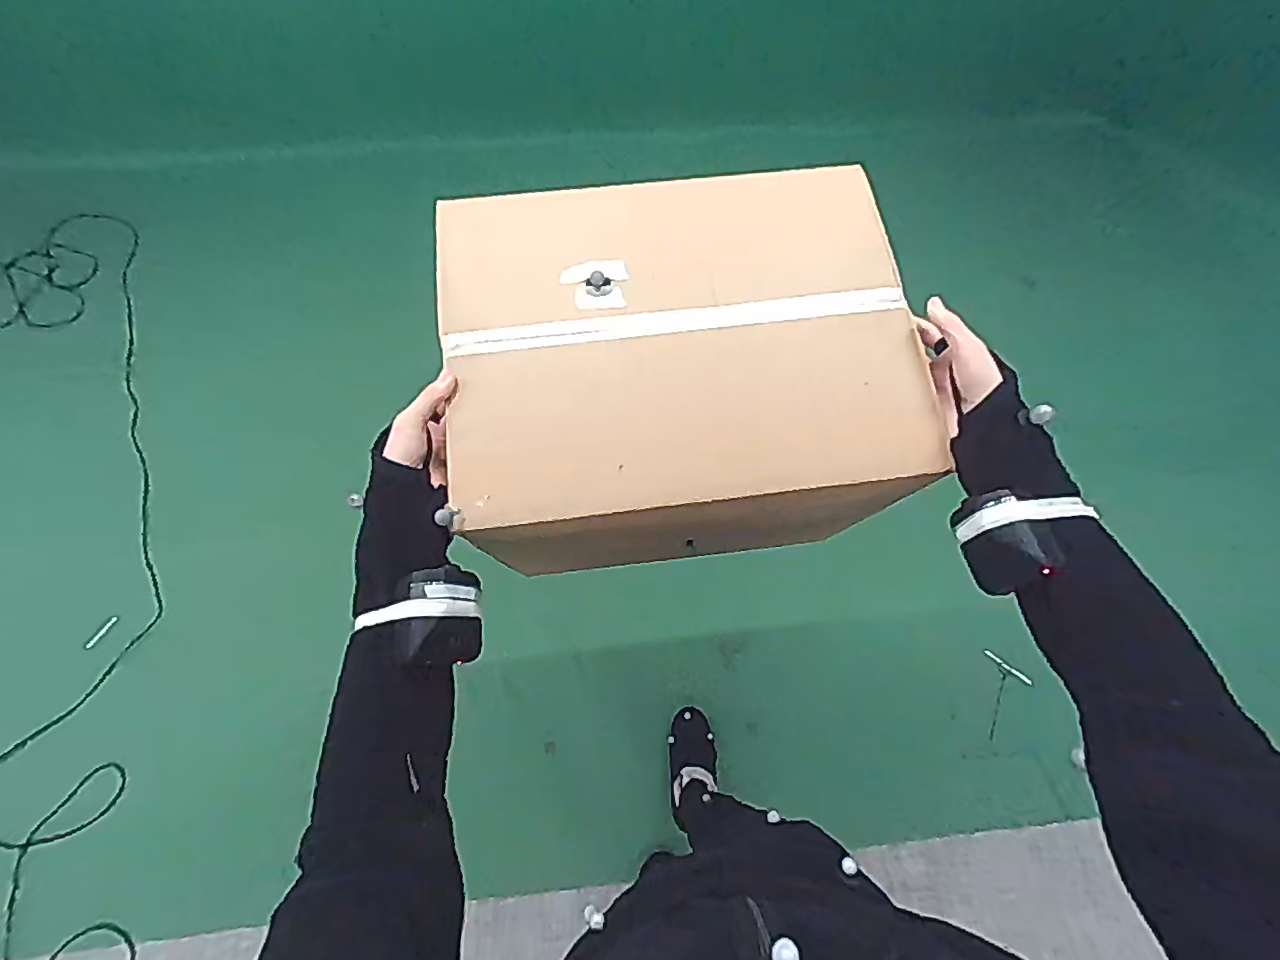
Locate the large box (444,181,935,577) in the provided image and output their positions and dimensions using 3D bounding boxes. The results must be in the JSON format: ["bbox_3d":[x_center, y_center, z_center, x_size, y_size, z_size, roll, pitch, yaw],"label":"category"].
[{"bbox_3d":[0.031,-0.081,0.624,0.408,0.320,0.320,-8,73,-2],"label":"large box"}]
